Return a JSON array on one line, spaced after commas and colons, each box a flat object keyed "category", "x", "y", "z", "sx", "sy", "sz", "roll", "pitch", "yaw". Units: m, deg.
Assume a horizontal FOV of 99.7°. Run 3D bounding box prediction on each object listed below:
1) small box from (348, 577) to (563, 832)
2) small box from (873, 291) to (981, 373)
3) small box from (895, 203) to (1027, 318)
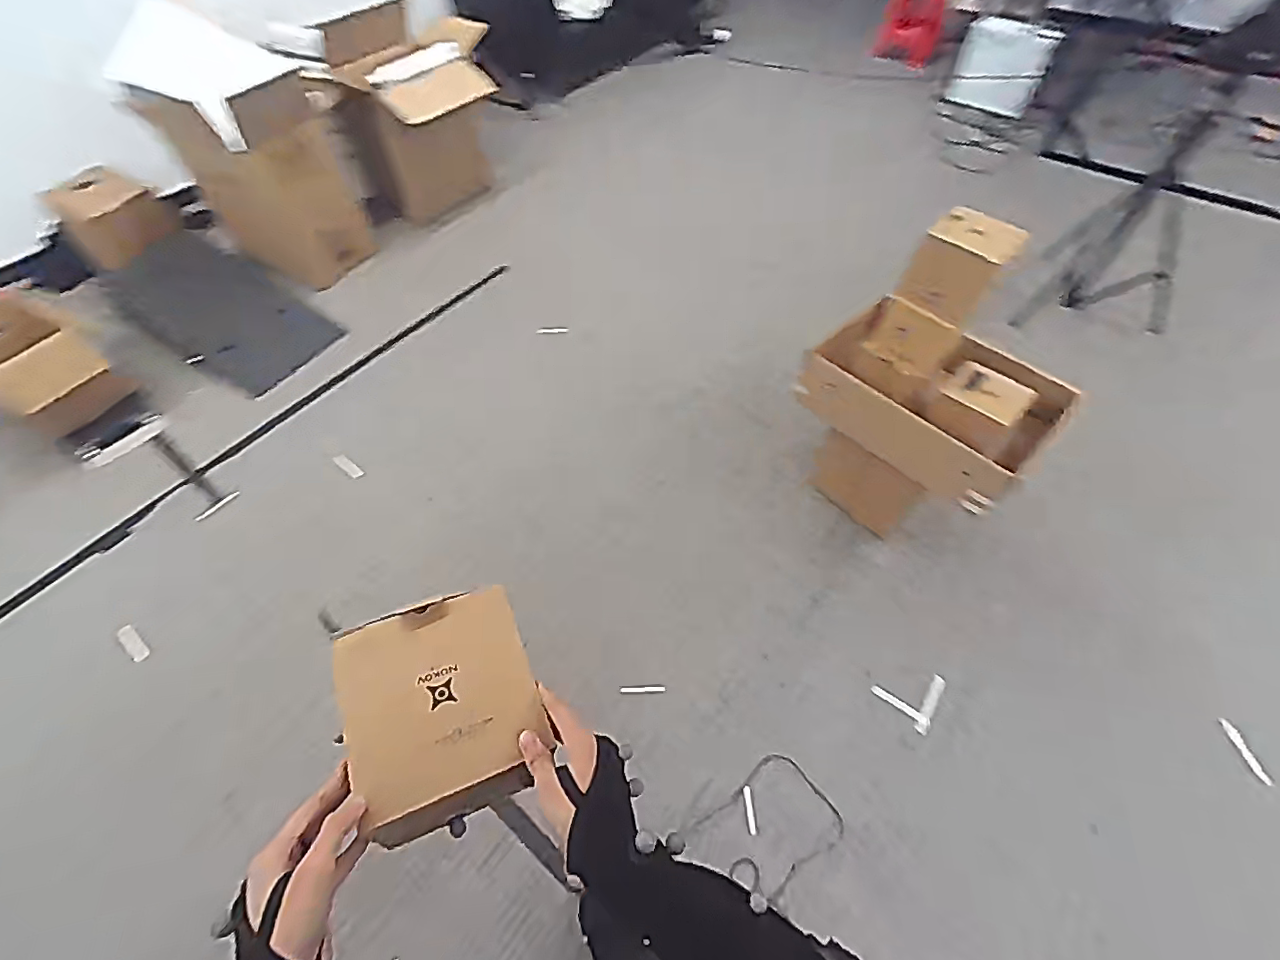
[{"category": "small box", "x": -0.188, "y": 0.231, "z": 0.559, "sx": 0.168, "sy": 0.176, "sz": 0.179, "roll": -12, "pitch": 57, "yaw": -22}, {"category": "small box", "x": 0.736, "y": -0.411, "z": 1.404, "sx": 0.179, "sy": 0.176, "sz": 0.168, "roll": -38, "pitch": 65, "yaw": -24}, {"category": "small box", "x": 0.744, "y": -0.508, "z": 1.271, "sx": 0.179, "sy": 0.176, "sz": 0.168, "roll": 40, "pitch": 64, "yaw": 22}]
